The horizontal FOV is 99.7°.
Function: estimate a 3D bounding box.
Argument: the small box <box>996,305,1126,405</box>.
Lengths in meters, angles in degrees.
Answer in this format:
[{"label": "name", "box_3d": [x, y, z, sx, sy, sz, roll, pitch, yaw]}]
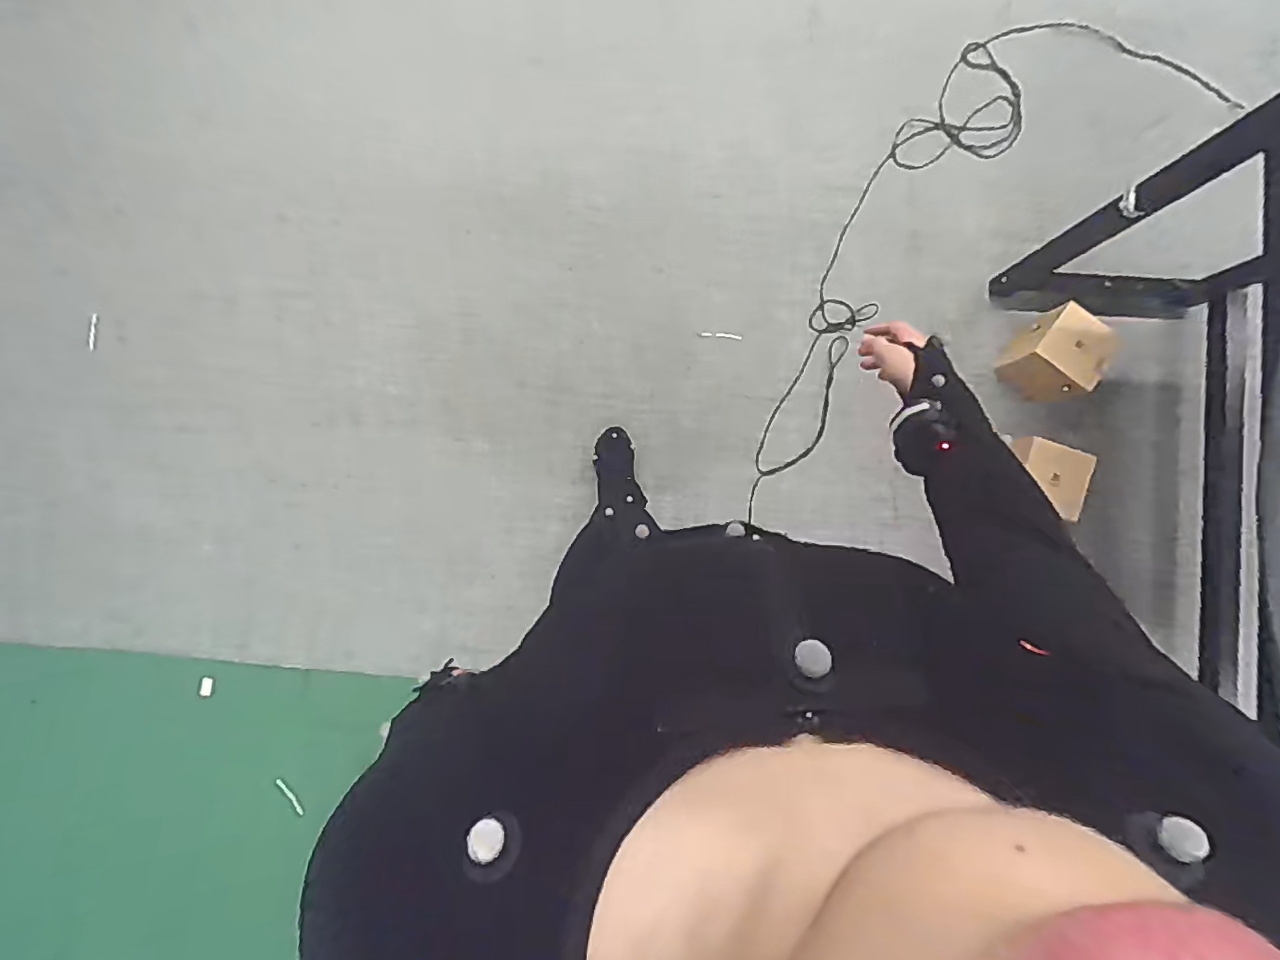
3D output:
[{"label": "small box", "box_3d": [1.097, -0.319, 1.426, 0.179, 0.176, 0.168, 37, 87, 1]}]

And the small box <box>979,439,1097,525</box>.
[{"label": "small box", "box_3d": [1.021, 0.011, 1.404, 0.168, 0.176, 0.179, 18, 85, 0]}]
